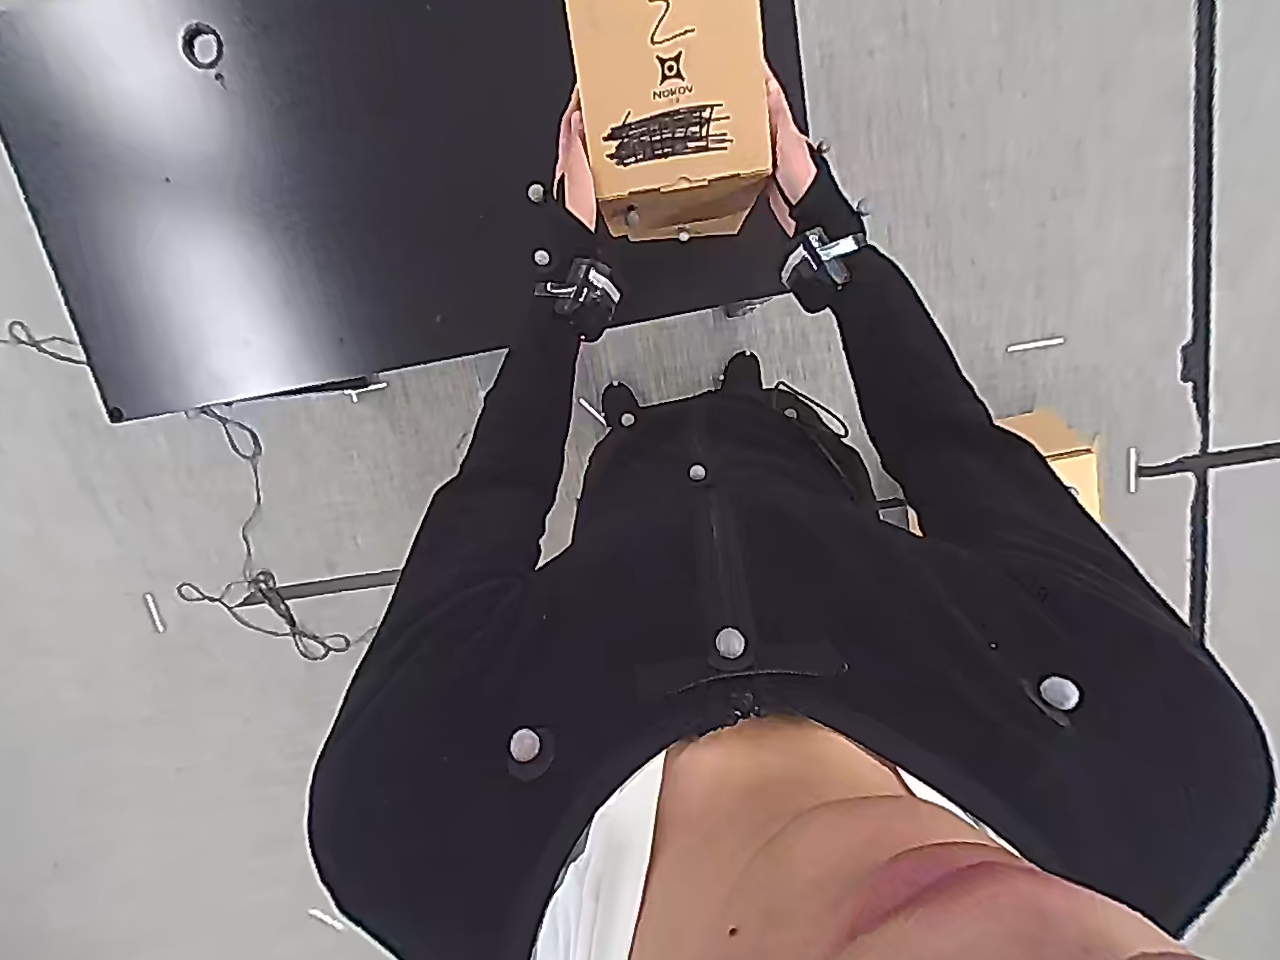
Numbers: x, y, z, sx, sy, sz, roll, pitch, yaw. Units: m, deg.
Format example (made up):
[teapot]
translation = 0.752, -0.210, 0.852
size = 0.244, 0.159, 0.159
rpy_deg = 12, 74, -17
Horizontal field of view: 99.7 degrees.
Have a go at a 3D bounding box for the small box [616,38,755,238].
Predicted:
[small box]
translation = 0.057, -0.437, 0.719
size = 0.168, 0.176, 0.179
rpy_deg = -2, 102, 3
